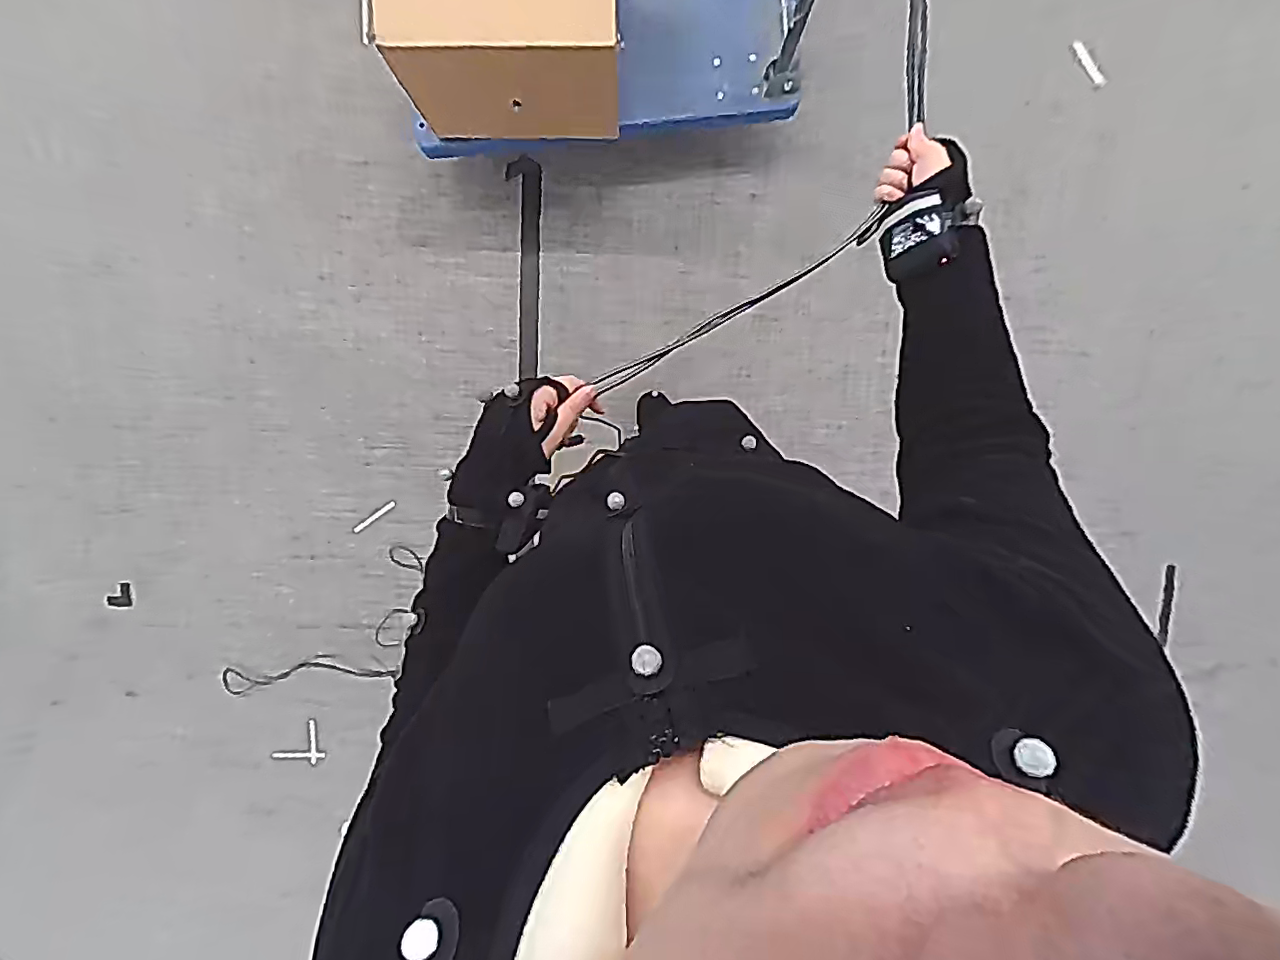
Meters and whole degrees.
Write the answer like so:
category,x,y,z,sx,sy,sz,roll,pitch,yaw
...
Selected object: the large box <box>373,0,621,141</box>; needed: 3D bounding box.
category,x,y,z,sx,sy,sz,roll,pitch,yaw
large box,-0.244,-0.883,1.029,0.408,0.320,0.320,-1,96,-1
